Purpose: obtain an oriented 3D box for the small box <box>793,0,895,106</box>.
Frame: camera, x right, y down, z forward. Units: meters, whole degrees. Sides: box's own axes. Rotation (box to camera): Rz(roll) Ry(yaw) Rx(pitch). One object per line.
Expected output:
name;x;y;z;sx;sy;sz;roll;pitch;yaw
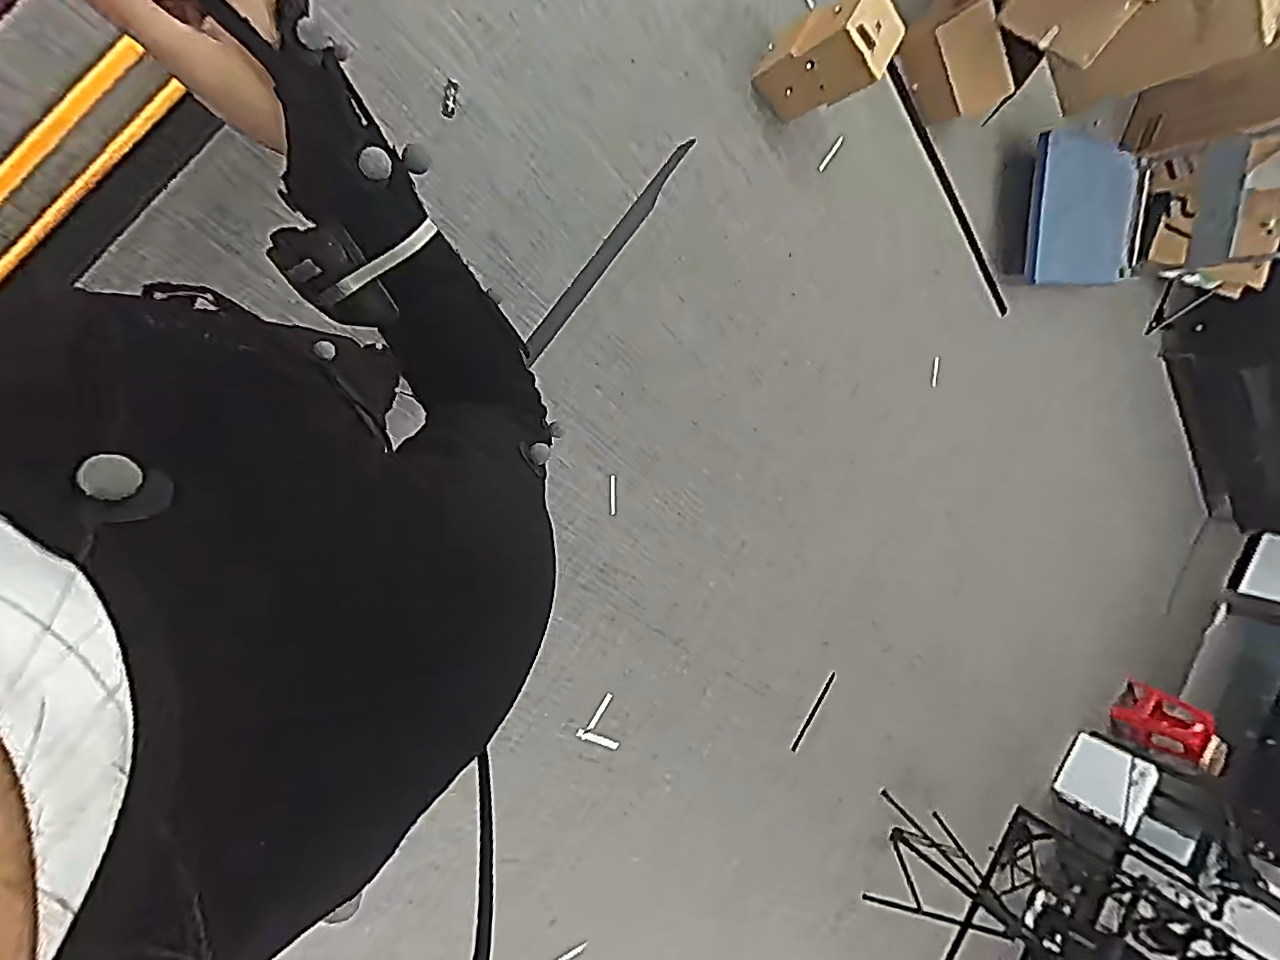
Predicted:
small box;0.541;-1.164;1.455;0.168;0.176;0.179;33;81;-32
